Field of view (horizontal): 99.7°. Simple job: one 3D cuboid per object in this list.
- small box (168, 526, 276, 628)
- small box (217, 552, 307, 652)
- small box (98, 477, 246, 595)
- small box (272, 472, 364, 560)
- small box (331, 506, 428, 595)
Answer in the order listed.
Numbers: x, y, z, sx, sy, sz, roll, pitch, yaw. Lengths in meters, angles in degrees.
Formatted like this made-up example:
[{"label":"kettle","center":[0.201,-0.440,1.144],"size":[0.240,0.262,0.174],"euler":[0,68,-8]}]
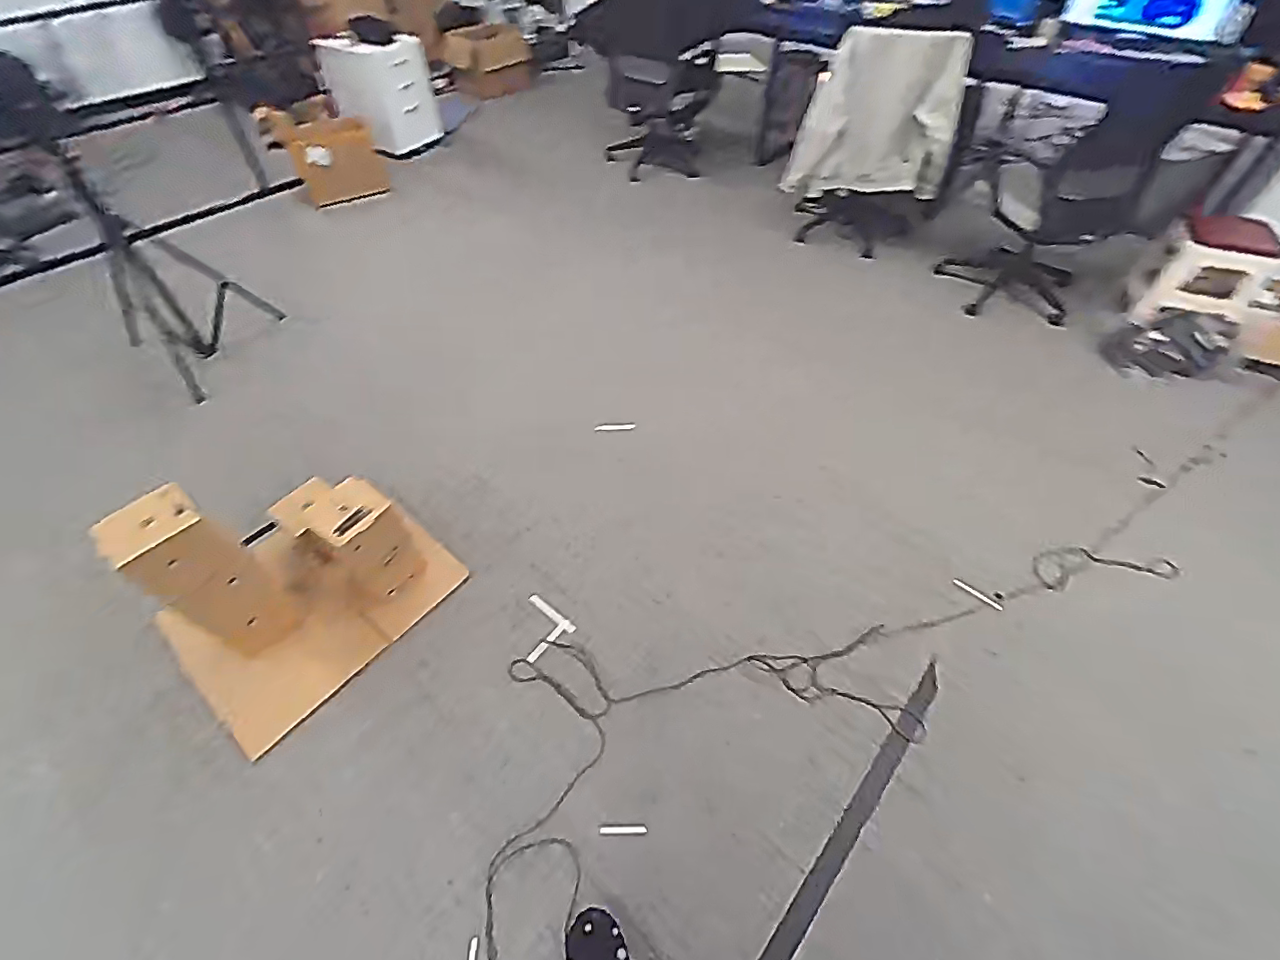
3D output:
[{"label":"small box","center":[-1.073,0.240,1.381],"size":[0.168,0.176,0.179],"euler":[37,61,26]},{"label":"small box","center":[-1.070,0.343,1.510],"size":[0.168,0.176,0.179],"euler":[36,61,26]},{"label":"small box","center":[-1.075,0.134,1.256],"size":[0.168,0.176,0.179],"euler":[35,61,24]},{"label":"small box","center":[-0.990,0.115,1.697],"size":[0.168,0.176,0.179],"euler":[29,57,22]},{"label":"small box","center":[-0.766,0.218,1.611],"size":[0.179,0.176,0.168],"euler":[29,57,22]}]
